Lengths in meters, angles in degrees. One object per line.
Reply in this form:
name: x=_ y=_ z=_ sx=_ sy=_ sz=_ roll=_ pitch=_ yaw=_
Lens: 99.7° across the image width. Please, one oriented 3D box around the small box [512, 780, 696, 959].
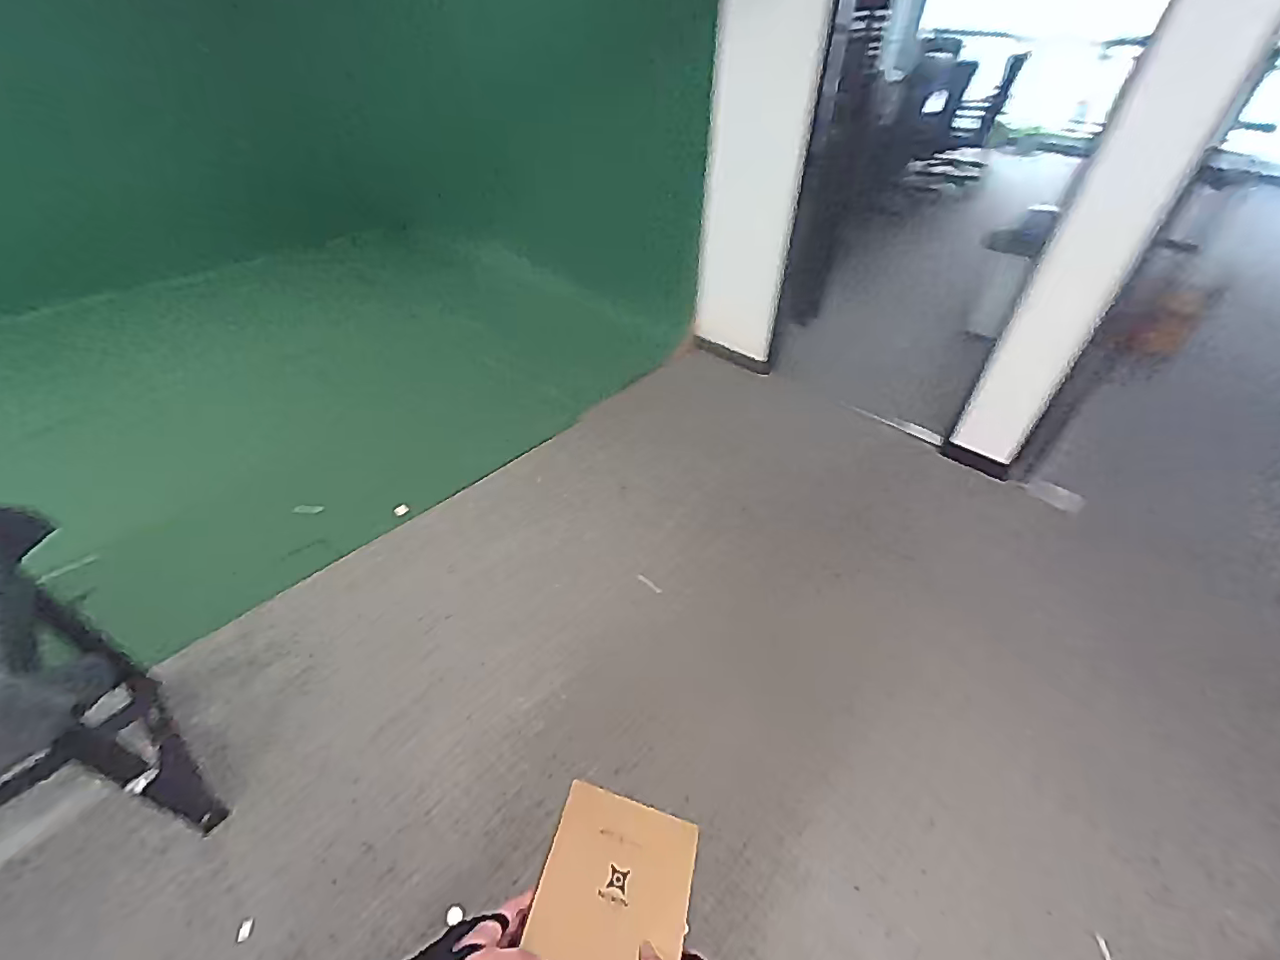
small box: x=-0.045 y=0.507 z=0.649 sx=0.168 sy=0.176 sz=0.179 roll=19 pitch=36 yaw=0
